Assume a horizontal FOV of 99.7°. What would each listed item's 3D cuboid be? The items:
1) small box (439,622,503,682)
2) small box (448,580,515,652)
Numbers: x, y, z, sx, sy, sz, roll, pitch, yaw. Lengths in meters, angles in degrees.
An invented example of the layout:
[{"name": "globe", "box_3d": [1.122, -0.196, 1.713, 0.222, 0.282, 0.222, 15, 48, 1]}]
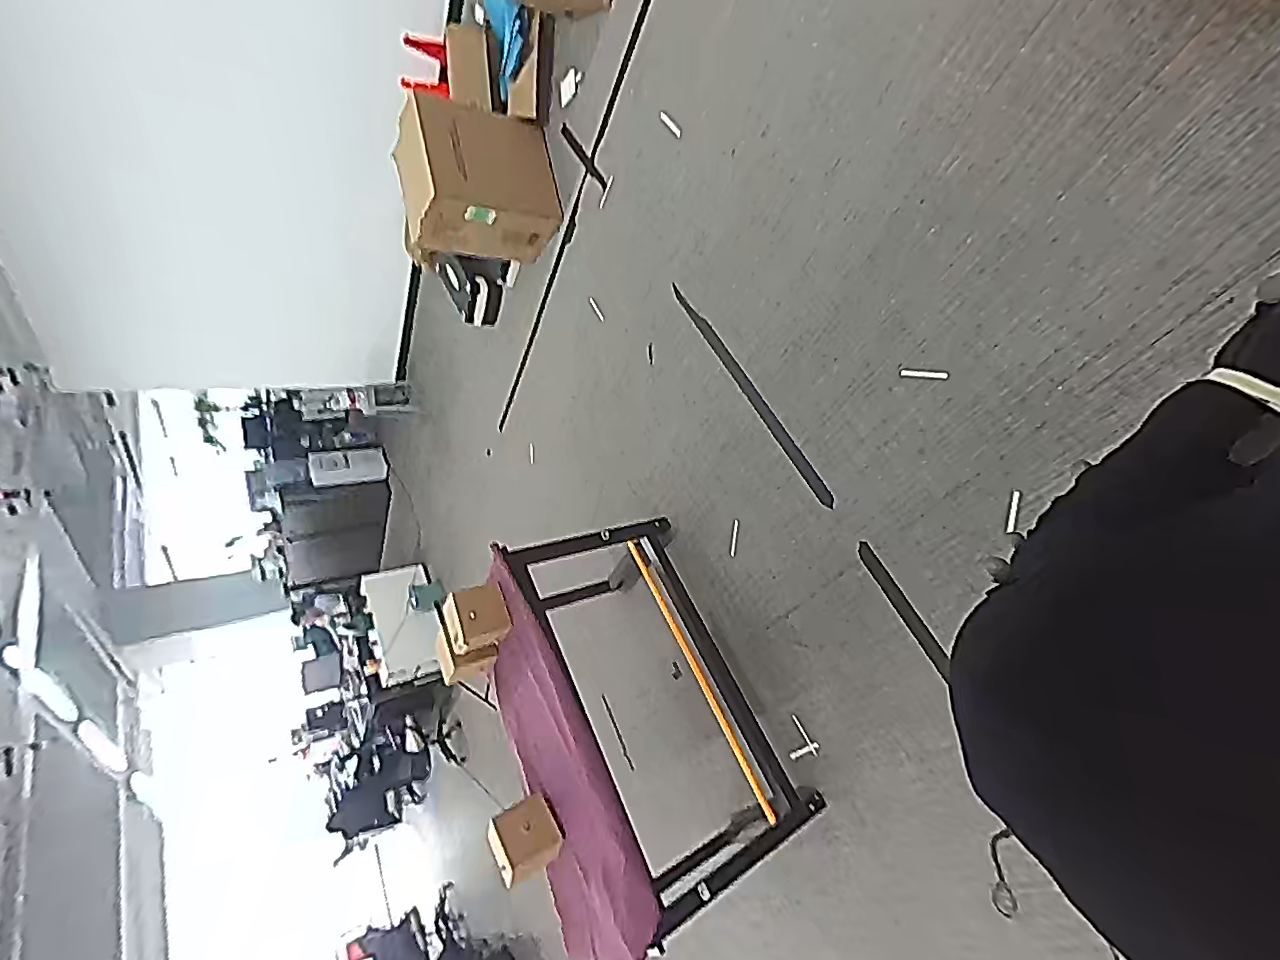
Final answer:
[{"name": "small box", "box_3d": [-0.643, 0.633, 2.051, 0.179, 0.176, 0.168, 61, 139, 26]}, {"name": "small box", "box_3d": [-0.556, 0.476, 1.899, 0.168, 0.176, 0.179, -50, 57, 48]}]
